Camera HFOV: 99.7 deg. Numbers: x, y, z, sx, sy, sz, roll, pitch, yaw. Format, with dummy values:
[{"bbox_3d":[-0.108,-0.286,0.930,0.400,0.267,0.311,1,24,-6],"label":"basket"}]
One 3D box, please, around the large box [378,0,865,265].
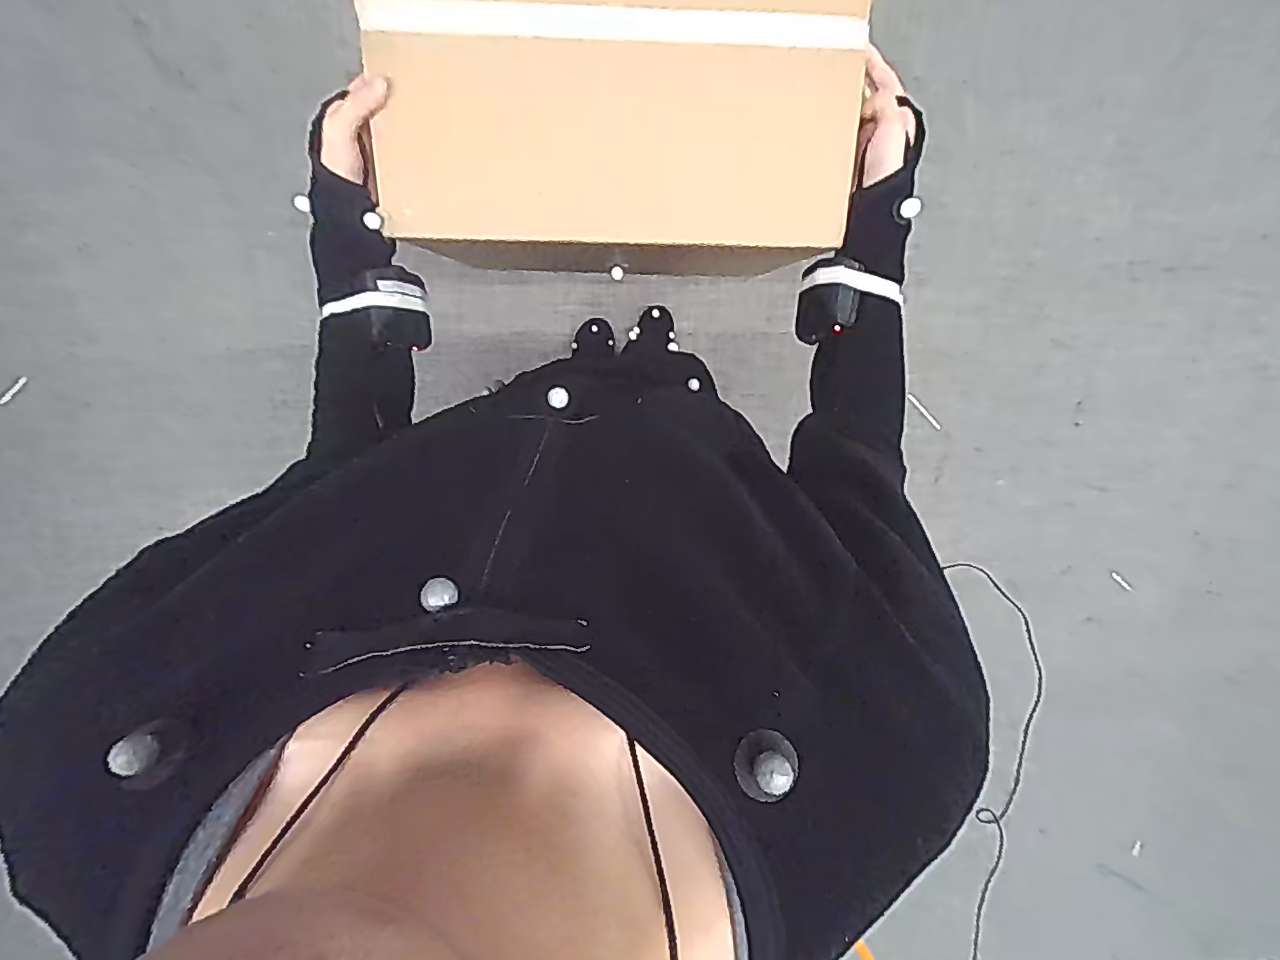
[{"bbox_3d":[-0.017,-0.408,0.587,0.408,0.320,0.320,0,106,-2],"label":"large box"}]
